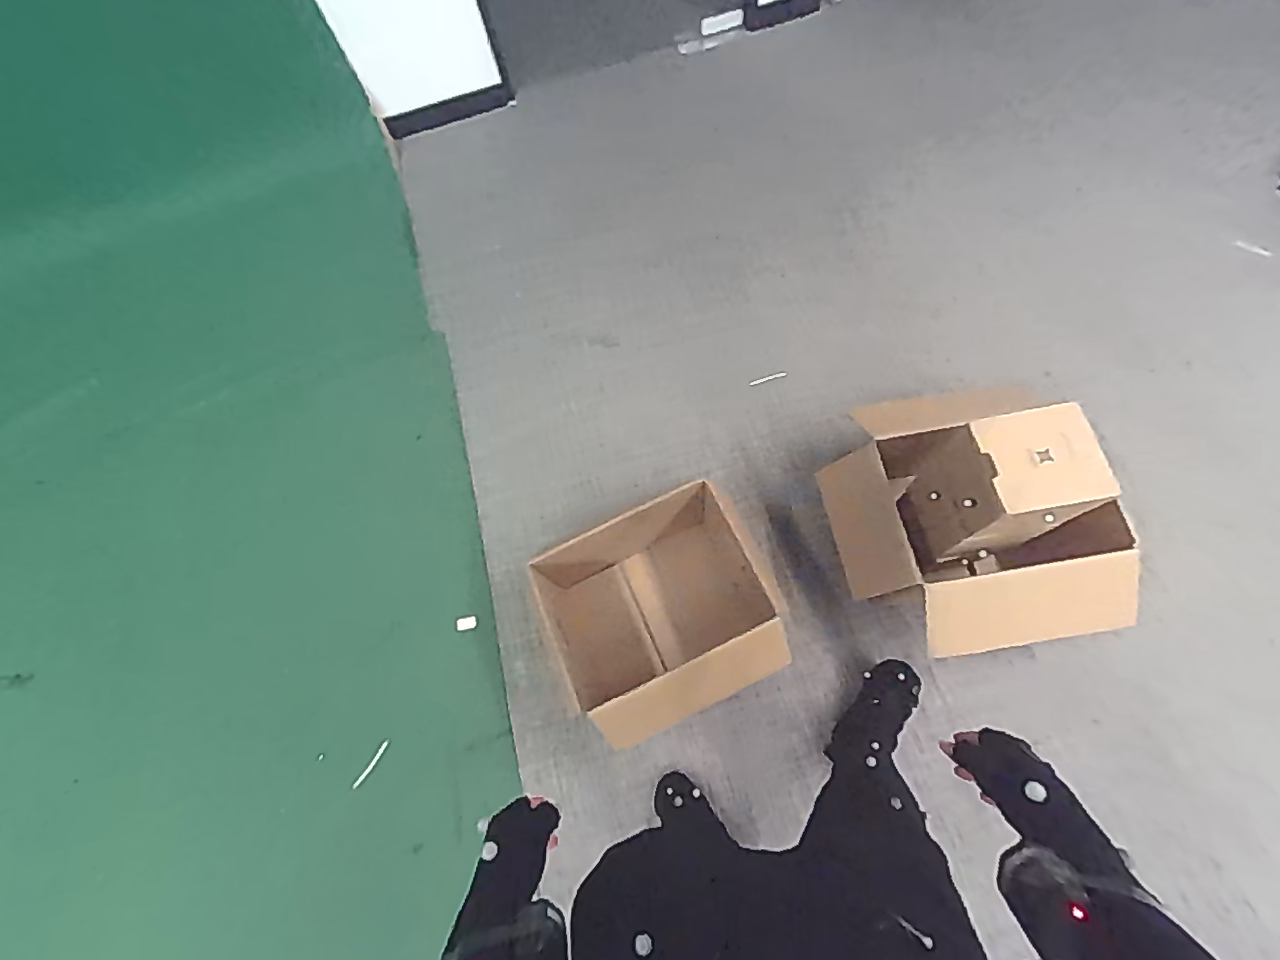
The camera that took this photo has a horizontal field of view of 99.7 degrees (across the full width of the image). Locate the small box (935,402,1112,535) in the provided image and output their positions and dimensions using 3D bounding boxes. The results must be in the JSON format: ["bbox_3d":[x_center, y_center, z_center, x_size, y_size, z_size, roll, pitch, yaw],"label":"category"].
[{"bbox_3d":[0.645,-0.011,0.943,0.179,0.176,0.168,-12,70,3],"label":"small box"}]

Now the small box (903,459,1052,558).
[{"bbox_3d":[0.667,0.049,1.092,0.179,0.176,0.168,-11,68,3],"label":"small box"}]
